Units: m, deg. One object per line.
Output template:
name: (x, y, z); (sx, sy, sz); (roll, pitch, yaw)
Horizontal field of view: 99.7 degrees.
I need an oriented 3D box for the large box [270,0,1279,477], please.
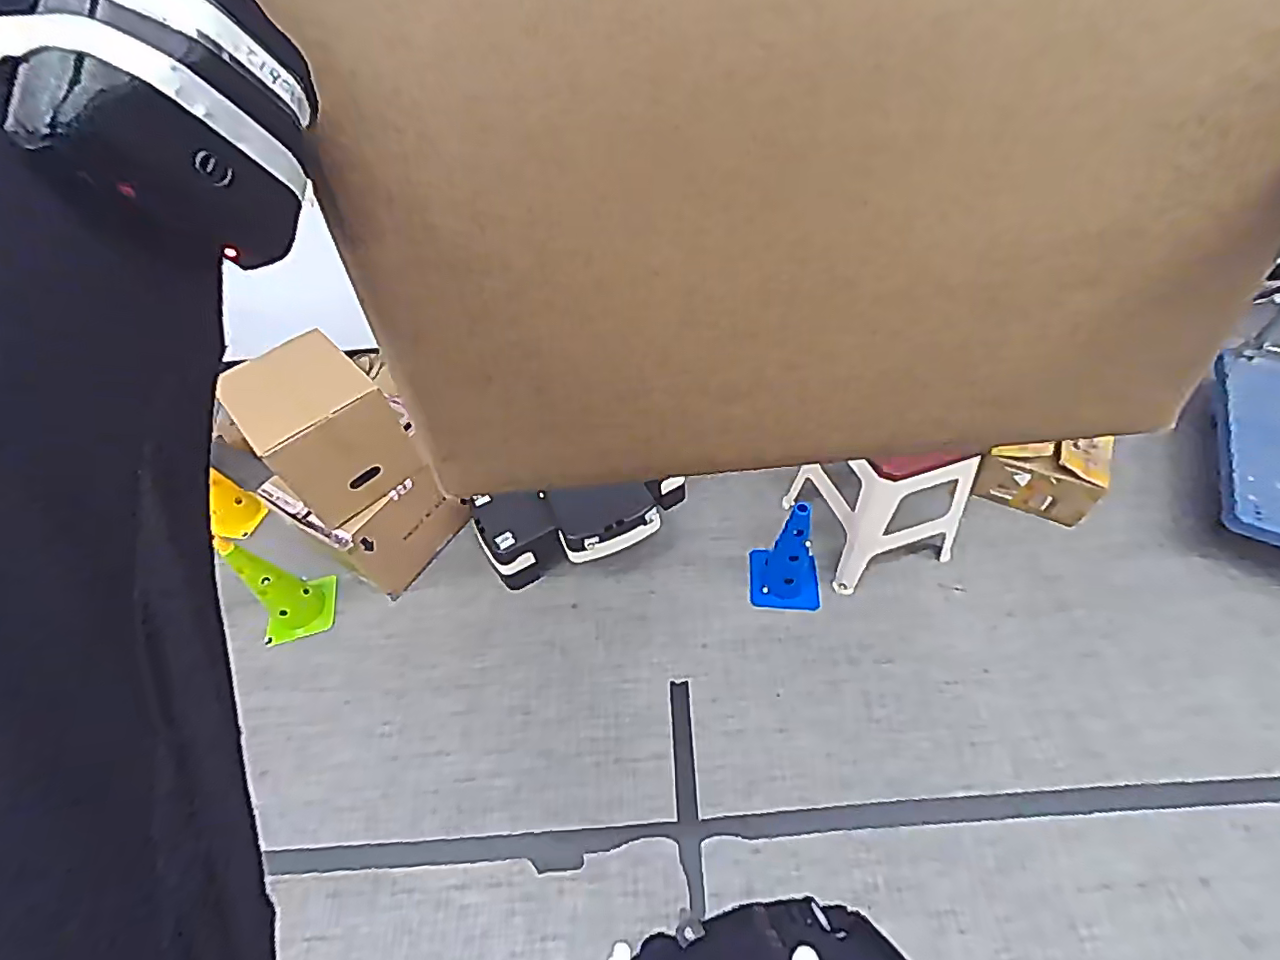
large box: (0.066, -0.226, 0.324); (0.408, 0.320, 0.320); (-5, 40, -1)
